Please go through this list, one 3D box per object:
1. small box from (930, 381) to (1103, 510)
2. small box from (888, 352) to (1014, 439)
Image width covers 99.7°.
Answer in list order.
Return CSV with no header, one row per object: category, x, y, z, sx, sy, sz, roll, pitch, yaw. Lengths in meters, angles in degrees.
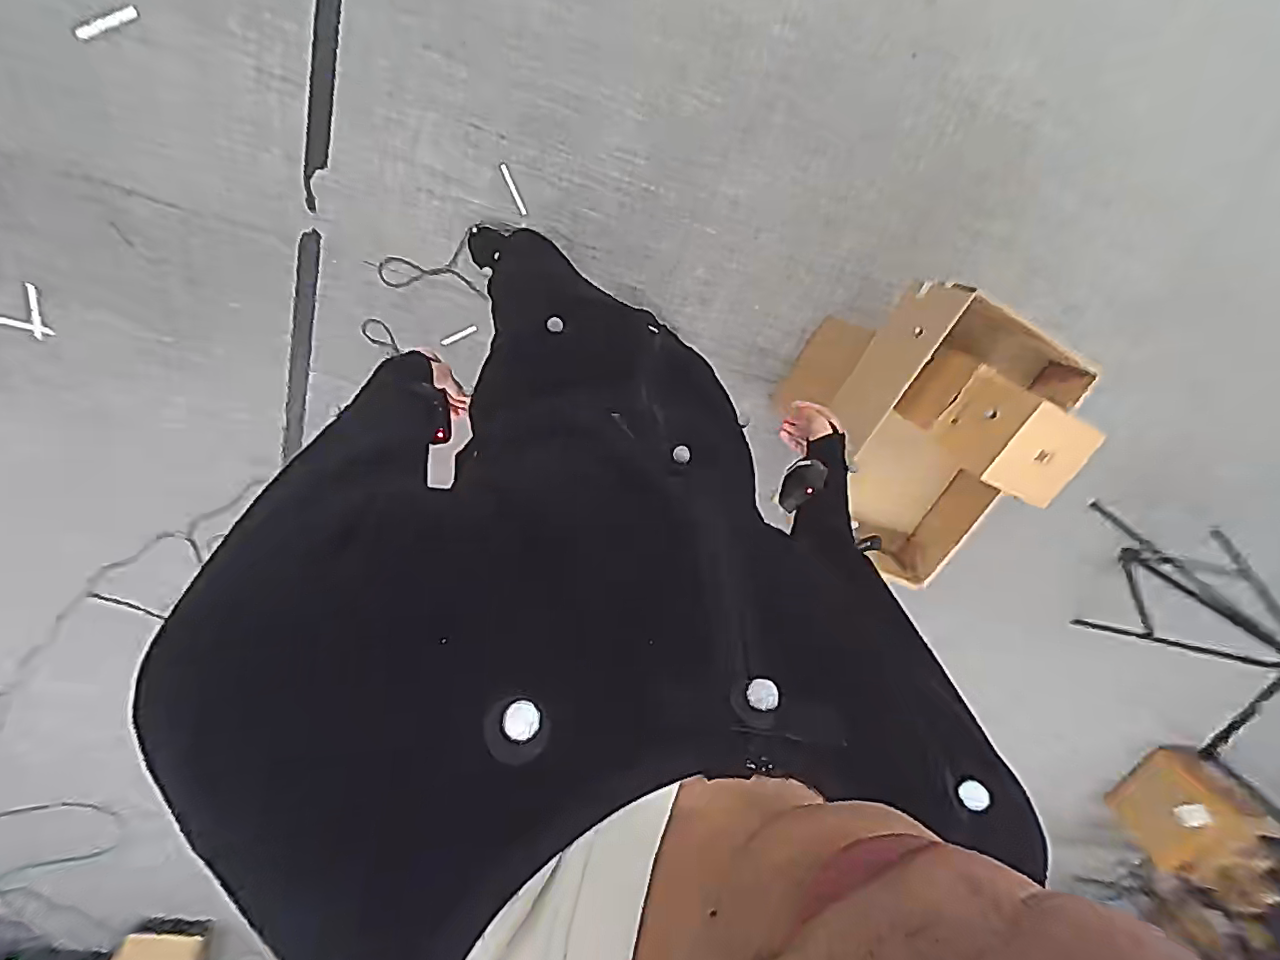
small box,0.711,-0.075,1.044,0.179,0.176,0.168,21,113,-18
small box,0.688,-0.162,1.180,0.179,0.176,0.168,25,112,-19
